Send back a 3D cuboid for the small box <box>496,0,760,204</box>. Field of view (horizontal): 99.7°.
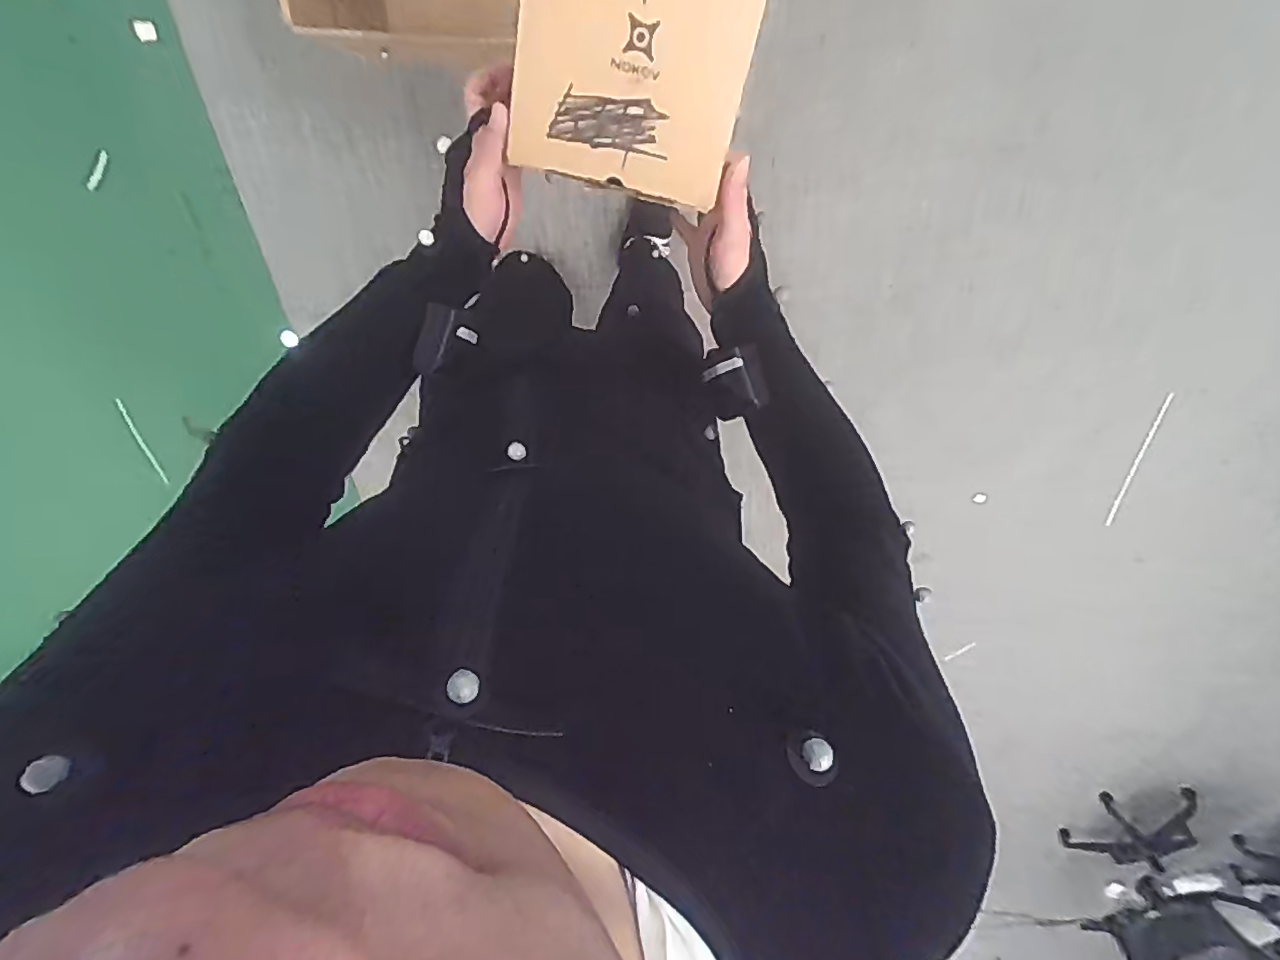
[{"bbox_3d":[-0.016,-0.344,0.436,0.168,0.176,0.179,8,120,-13],"label":"small box"}]
